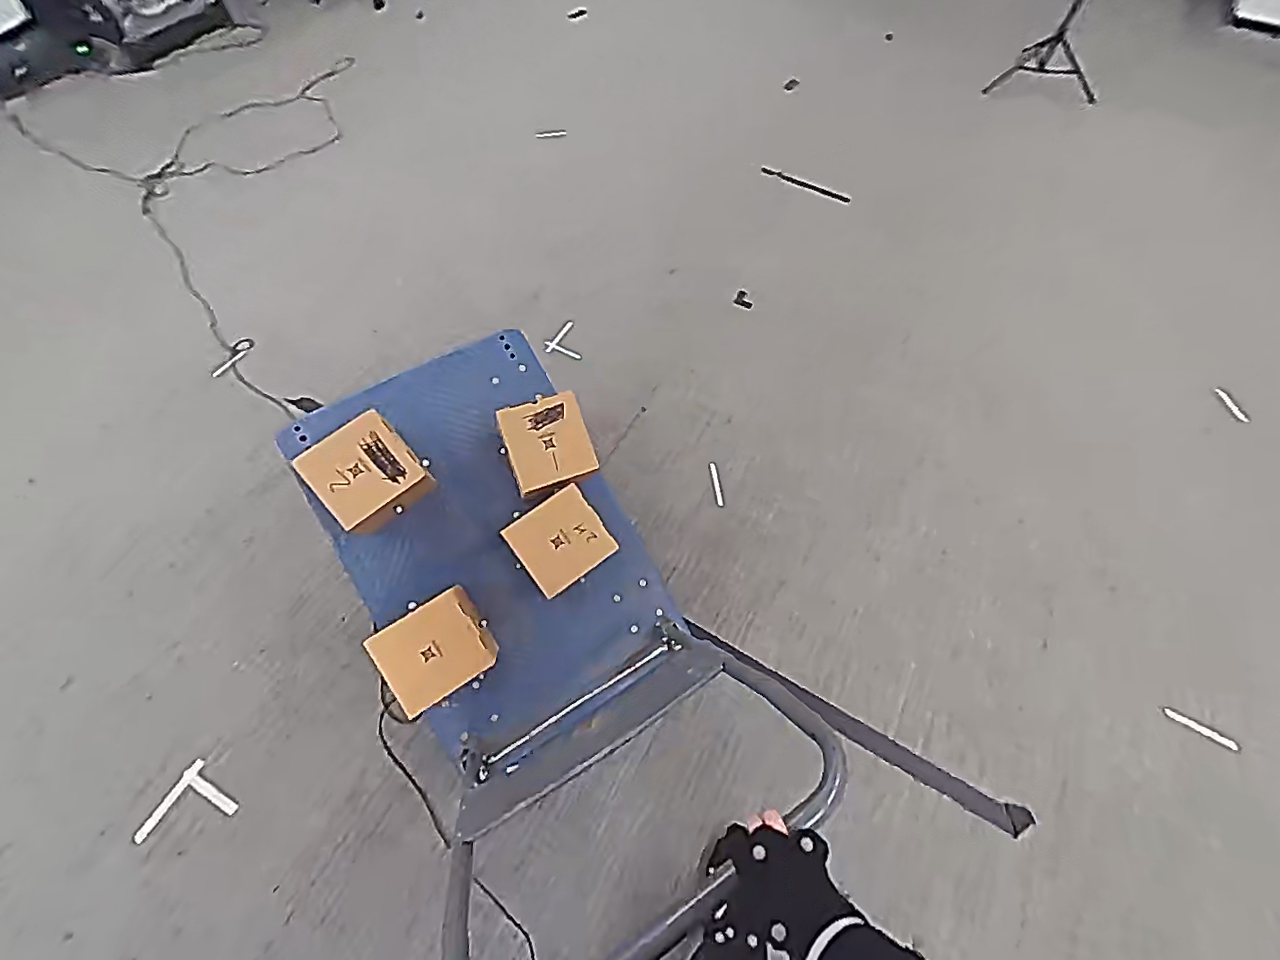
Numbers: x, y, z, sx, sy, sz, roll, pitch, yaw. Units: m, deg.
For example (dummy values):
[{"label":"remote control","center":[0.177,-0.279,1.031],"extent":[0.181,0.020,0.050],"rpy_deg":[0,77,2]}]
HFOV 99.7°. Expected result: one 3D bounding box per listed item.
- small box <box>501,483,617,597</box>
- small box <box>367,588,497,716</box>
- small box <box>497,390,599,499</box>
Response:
[{"label":"small box","center":[-0.172,0.129,1.149],"extent":[0.179,0.176,0.168],"rpy_deg":[-36,91,-14]},{"label":"small box","center":[-0.399,0.329,1.074],"extent":[0.179,0.176,0.168],"rpy_deg":[-32,89,-16]},{"label":"small box","center":[-0.202,-0.071,1.172],"extent":[0.168,0.176,0.179],"rpy_deg":[-20,87,-13]}]
